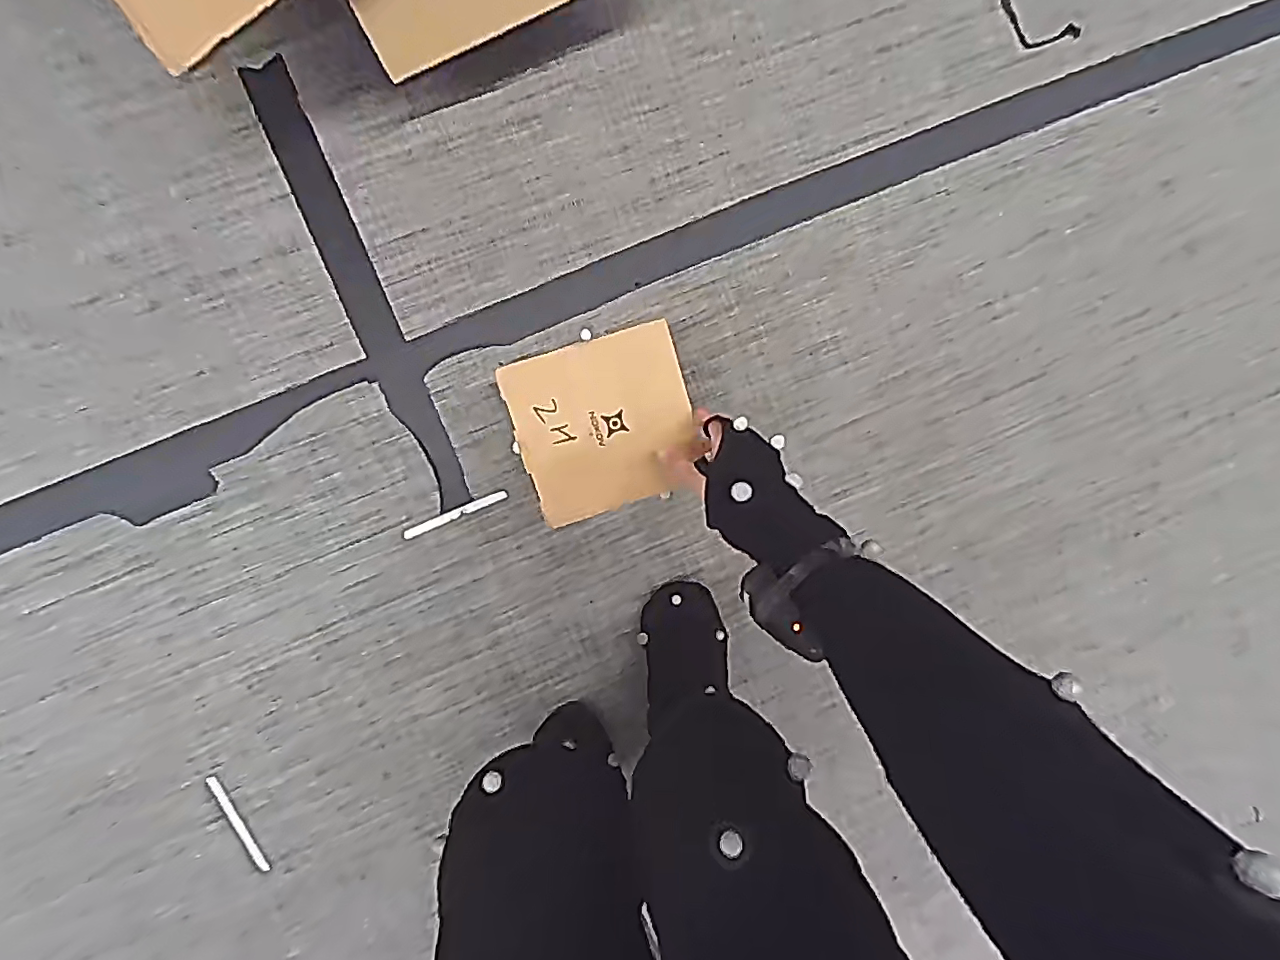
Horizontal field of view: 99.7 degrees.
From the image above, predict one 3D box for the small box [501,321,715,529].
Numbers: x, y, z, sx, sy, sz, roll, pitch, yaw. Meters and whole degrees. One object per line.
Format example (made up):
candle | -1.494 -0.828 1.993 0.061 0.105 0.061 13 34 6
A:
small box | -0.040 -0.065 0.601 0.179 0.176 0.168 -18 100 -6
